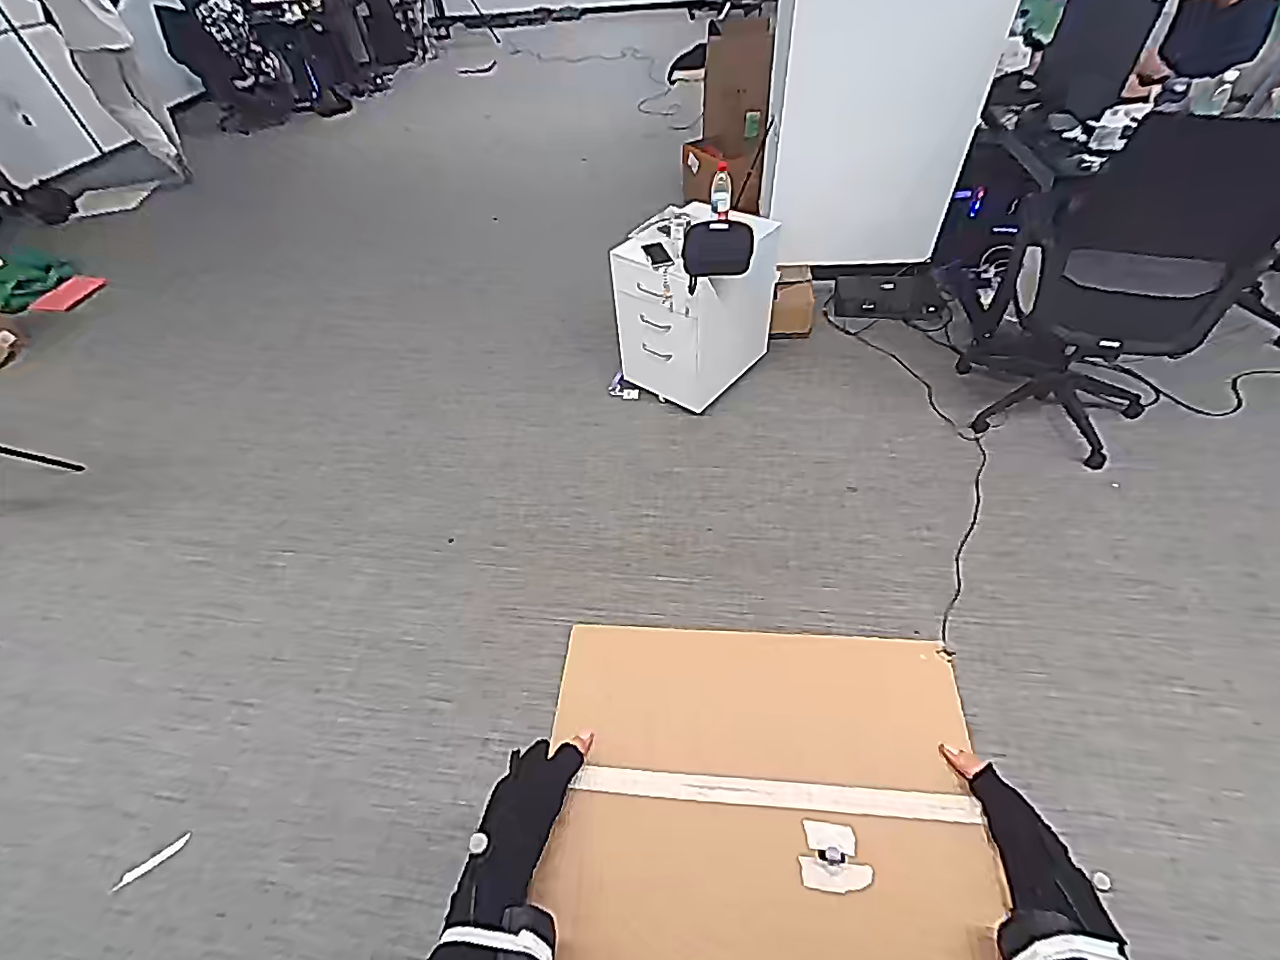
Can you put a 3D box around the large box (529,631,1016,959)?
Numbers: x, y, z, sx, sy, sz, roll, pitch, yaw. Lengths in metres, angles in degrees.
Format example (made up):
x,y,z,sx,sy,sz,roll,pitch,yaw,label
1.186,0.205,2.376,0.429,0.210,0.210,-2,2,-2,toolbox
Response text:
x,y,z,sx,sy,sz,roll,pitch,yaw,label
0.126,0.390,0.634,0.408,0.320,0.320,1,53,8,large box
